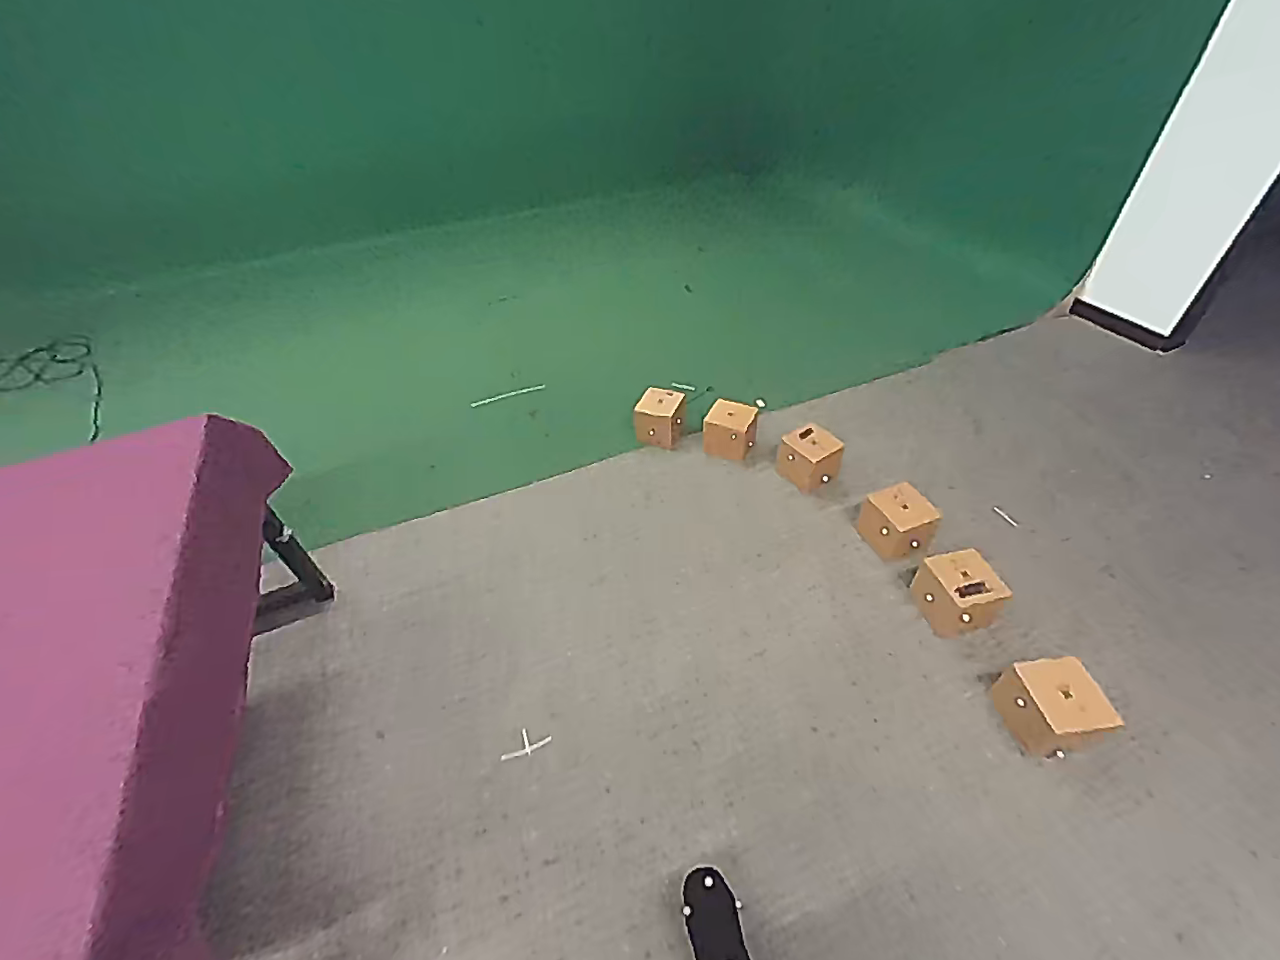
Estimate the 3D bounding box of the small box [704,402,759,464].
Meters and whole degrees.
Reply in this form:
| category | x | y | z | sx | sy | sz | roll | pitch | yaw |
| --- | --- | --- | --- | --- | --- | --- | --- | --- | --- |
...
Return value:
| category | x | y | z | sx | sy | sz | roll | pitch | yaw |
| --- | --- | --- | --- | --- | --- | --- | --- | --- | --- |
| small box | 0.370 | -0.190 | 2.198 | 0.179 | 0.176 | 0.168 | 18 | 48 | 22 |

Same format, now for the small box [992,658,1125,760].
| category | x | y | z | sx | sy | sz | roll | pitch | yaw |
| --- | --- | --- | --- | --- | --- | --- | --- | --- | --- |
| small box | 1.023 | 0.569 | 1.344 | 0.168 | 0.176 | 0.179 | -7 | 45 | 0 |

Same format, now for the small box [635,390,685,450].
| category | x | y | z | sx | sy | sz | roll | pitch | yaw |
| --- | --- | --- | --- | --- | --- | --- | --- | --- | --- |
| small box | 0.091 | -0.251 | 2.285 | 0.168 | 0.176 | 0.179 | 14 | 48 | 19 |

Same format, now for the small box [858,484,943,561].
| category | x | y | z | sx | sy | sz | roll | pitch | yaw |
| --- | --- | --- | --- | --- | --- | --- | --- | --- | --- |
| small box | 0.856 | 0.147 | 1.795 | 0.168 | 0.176 | 0.179 | -17 | 45 | -12 |
